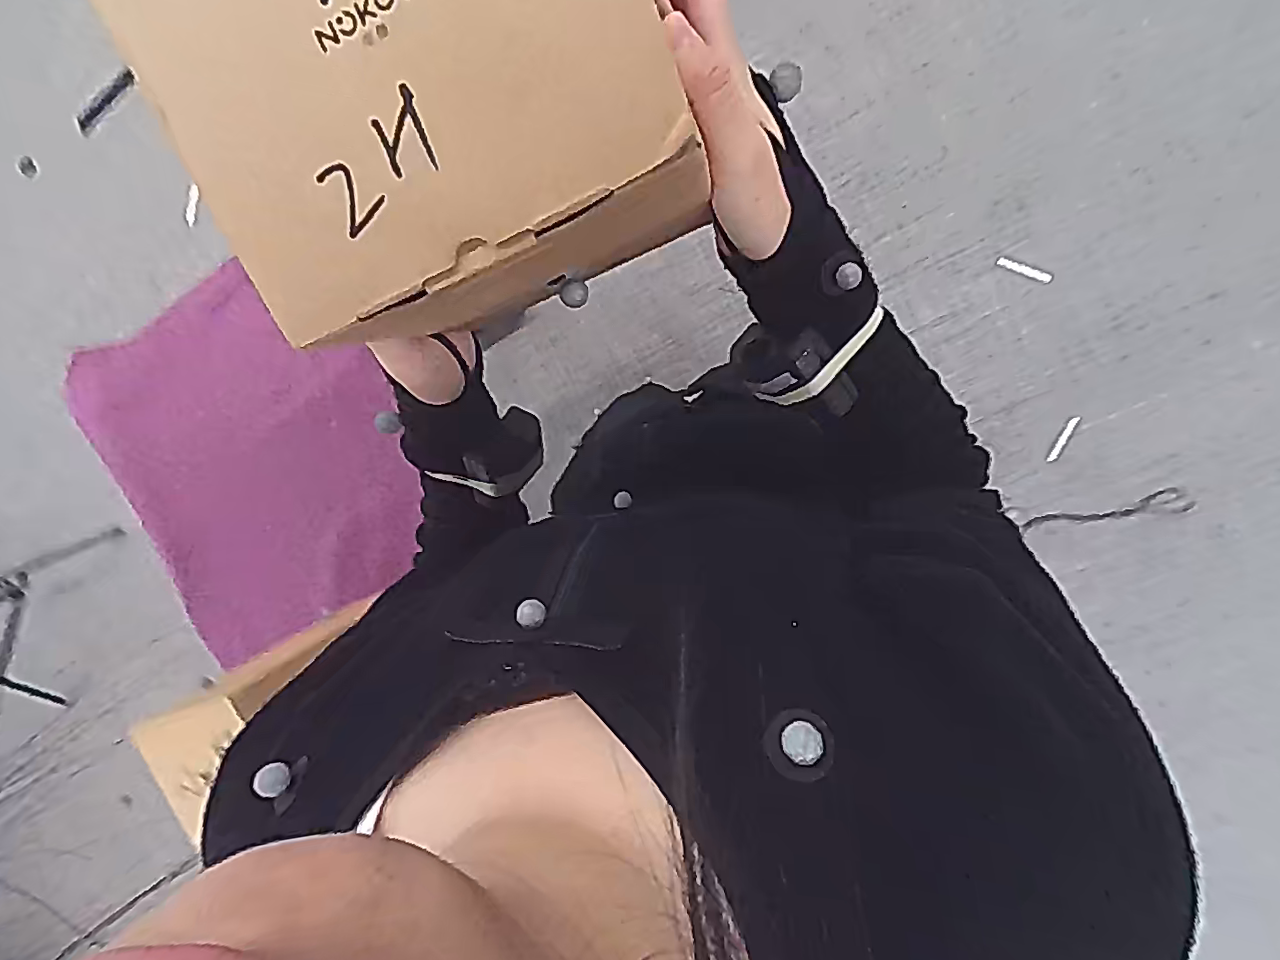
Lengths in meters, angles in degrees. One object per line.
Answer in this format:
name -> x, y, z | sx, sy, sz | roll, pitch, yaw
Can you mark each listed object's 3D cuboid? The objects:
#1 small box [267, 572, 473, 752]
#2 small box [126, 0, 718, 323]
small box -> -0.385, 0.259, 0.797 | 0.179, 0.176, 0.168 | -23, 96, 16
small box -> -0.070, -0.182, 0.237 | 0.168, 0.176, 0.179 | -18, 105, 15
